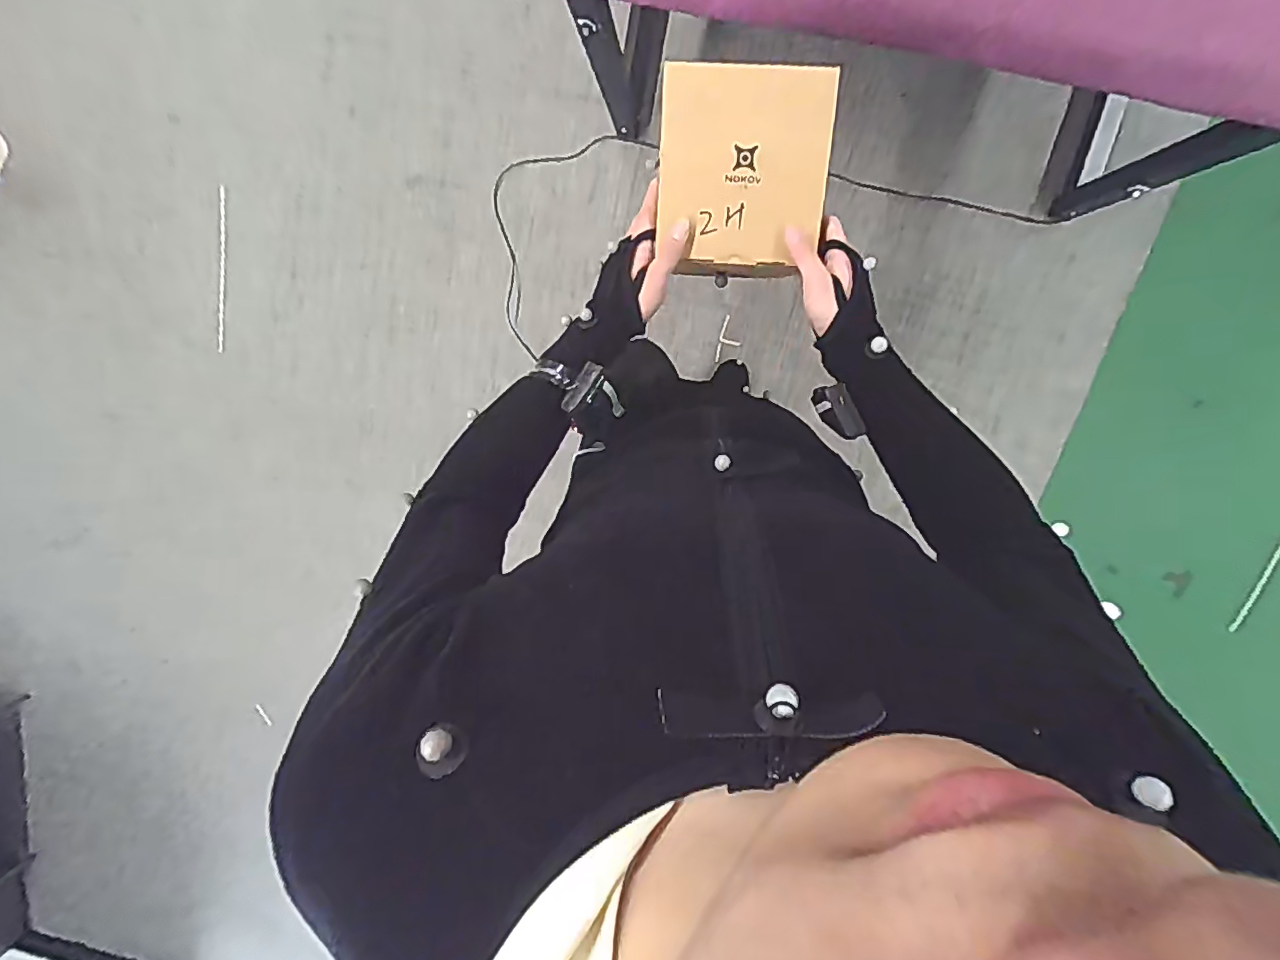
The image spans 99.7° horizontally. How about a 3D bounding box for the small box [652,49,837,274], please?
[{"bbox_3d":[0.101,-0.333,0.600,0.168,0.176,0.179,4,107,2],"label":"small box"}]
